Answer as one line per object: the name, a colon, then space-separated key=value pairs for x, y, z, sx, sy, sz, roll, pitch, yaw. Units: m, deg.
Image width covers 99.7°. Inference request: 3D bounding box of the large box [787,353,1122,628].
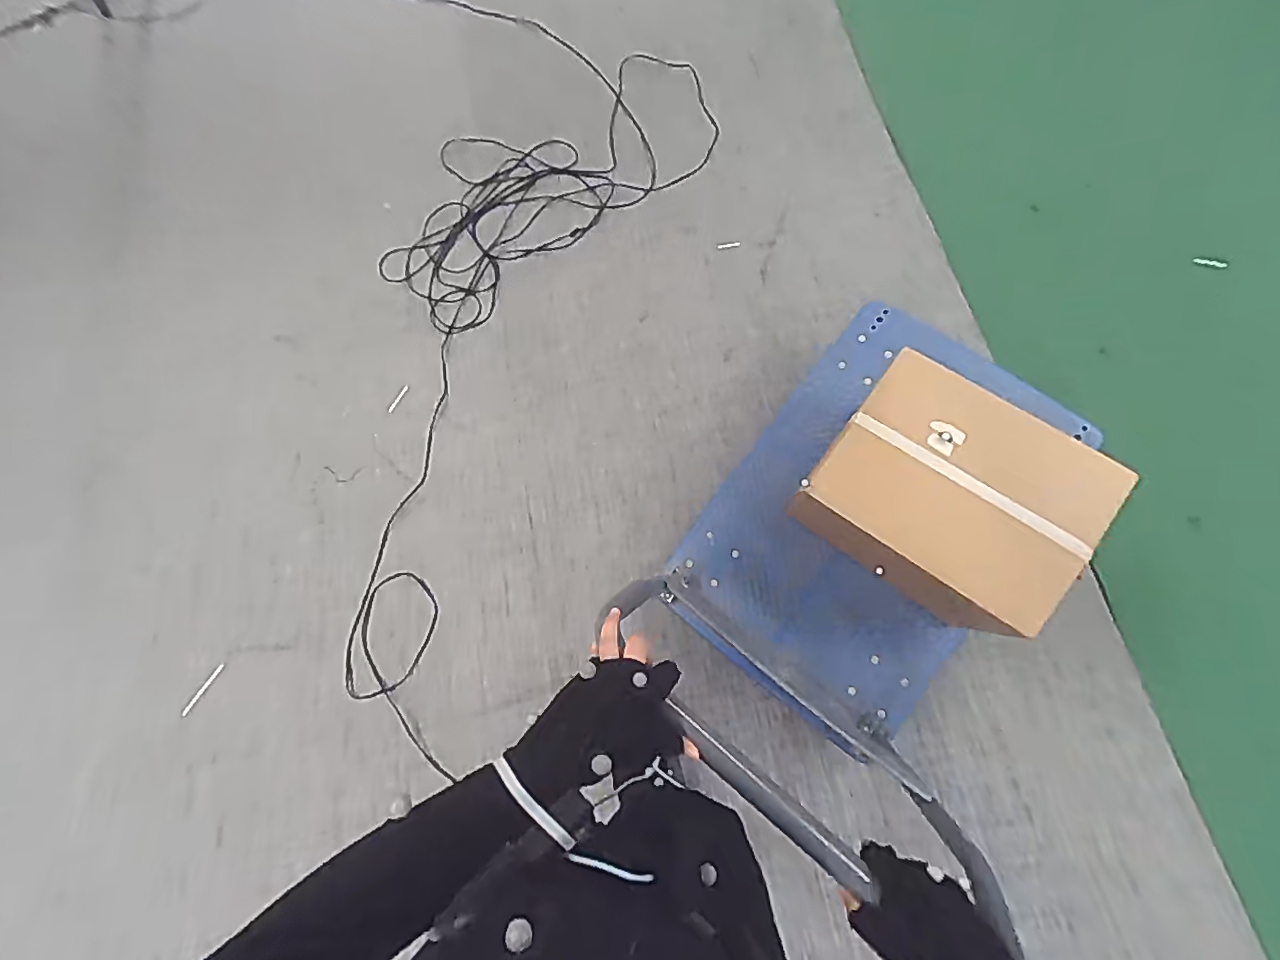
large box: x=0.547 y=0.031 z=1.038 sx=0.408 sy=0.320 sz=0.320 roll=35 pitch=86 yaw=14
